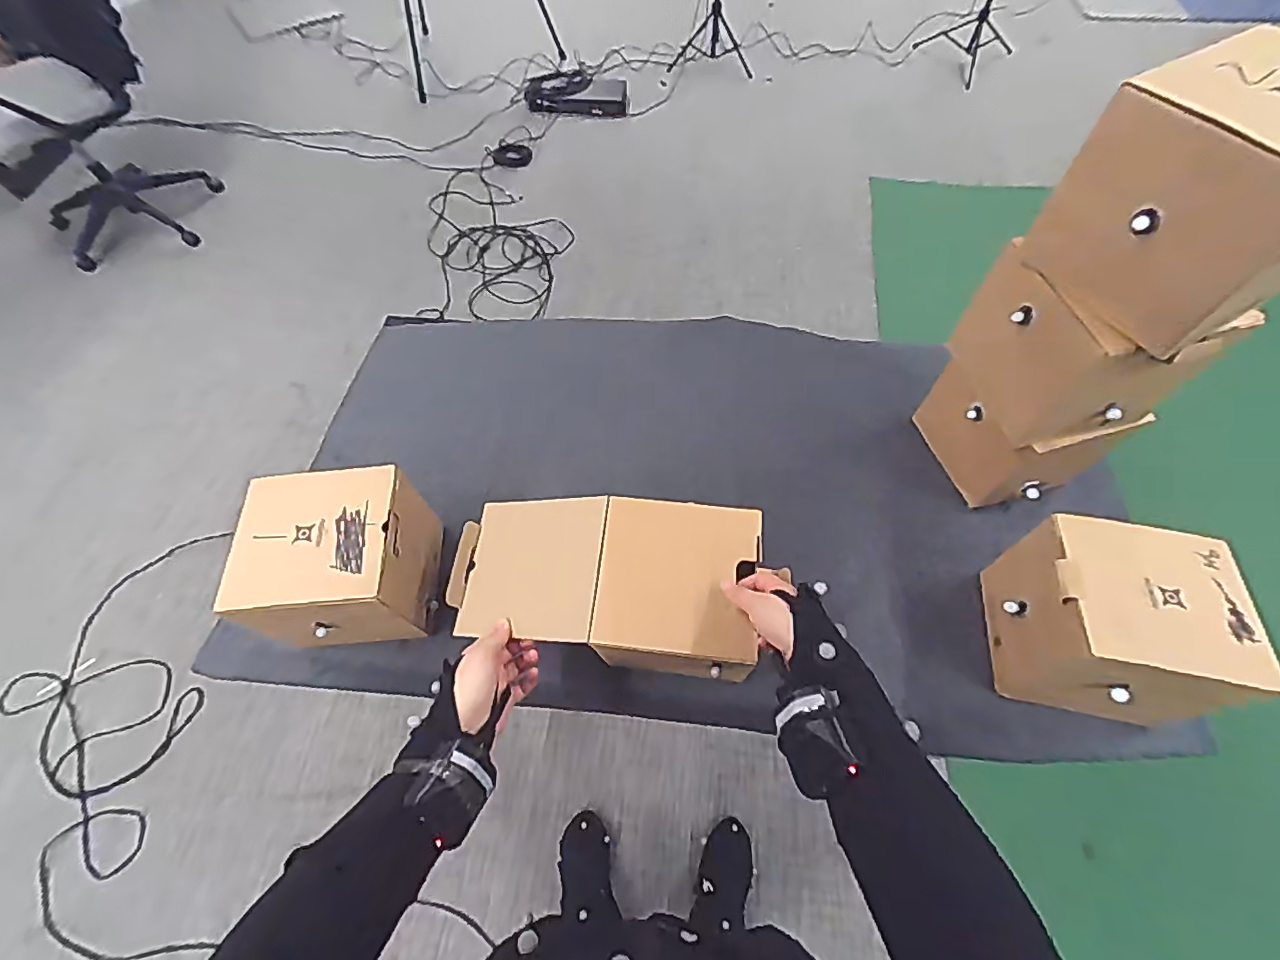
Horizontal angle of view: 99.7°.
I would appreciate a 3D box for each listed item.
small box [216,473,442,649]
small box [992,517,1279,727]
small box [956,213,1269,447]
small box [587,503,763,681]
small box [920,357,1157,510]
[{"bbox_3d":[-0.364,0.107,0.676,0.179,0.176,0.168,-5,61,-1],"label":"small box"},{"bbox_3d":[0.529,0.165,0.611,0.179,0.176,0.168,9,57,8],"label":"small box"},{"bbox_3d":[0.504,-0.165,0.618,0.168,0.176,0.179,-12,61,-1],"label":"small box"},{"bbox_3d":[0.046,0.139,0.642,0.179,0.176,0.168,4,65,6],"label":"small box"},{"bbox_3d":[0.534,-0.083,0.760,0.168,0.176,0.179,-16,62,-4],"label":"small box"}]
